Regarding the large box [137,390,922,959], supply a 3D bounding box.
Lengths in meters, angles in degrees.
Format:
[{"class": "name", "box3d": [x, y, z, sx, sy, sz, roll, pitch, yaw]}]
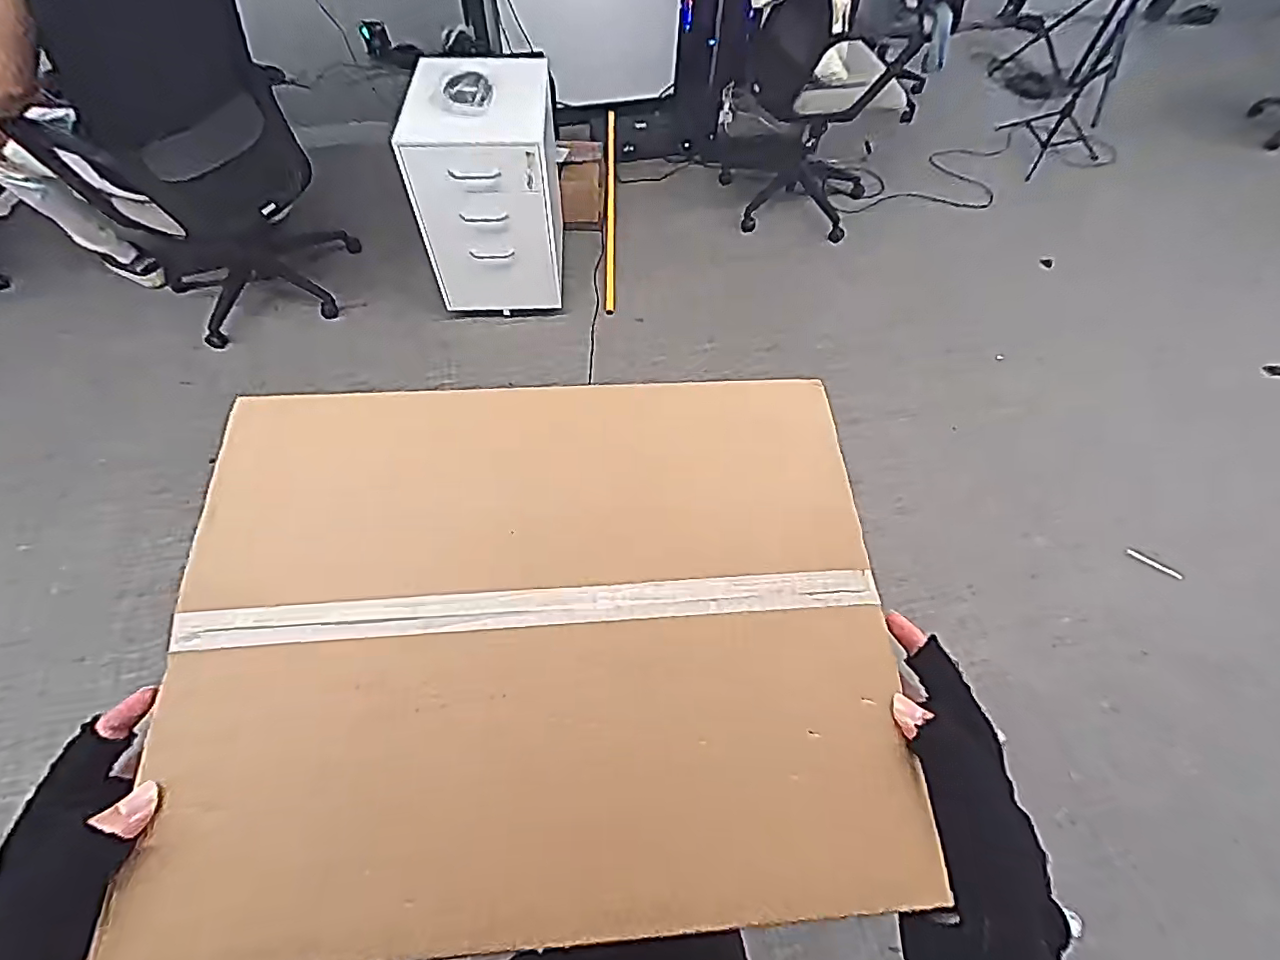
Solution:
[{"class": "large box", "box3d": [-0.065, 0.143, 0.468, 0.408, 0.320, 0.320, -3, 66, -4]}]
